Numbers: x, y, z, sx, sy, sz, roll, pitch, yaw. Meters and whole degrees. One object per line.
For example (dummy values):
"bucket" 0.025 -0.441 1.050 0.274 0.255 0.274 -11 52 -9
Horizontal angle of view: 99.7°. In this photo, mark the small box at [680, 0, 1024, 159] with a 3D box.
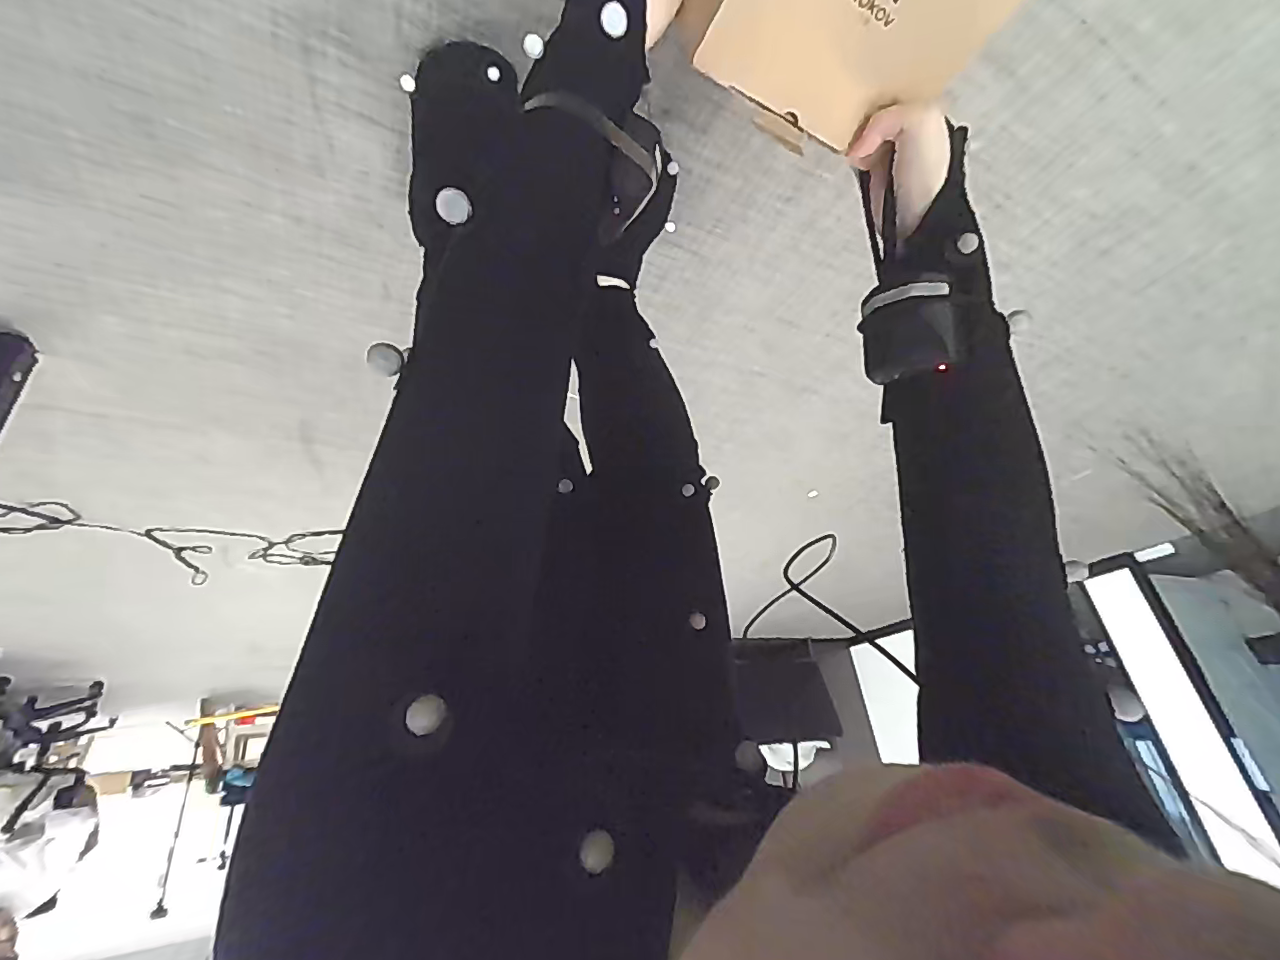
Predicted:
"small box" 0.130 -0.350 0.324 0.168 0.176 0.179 8 150 -28
